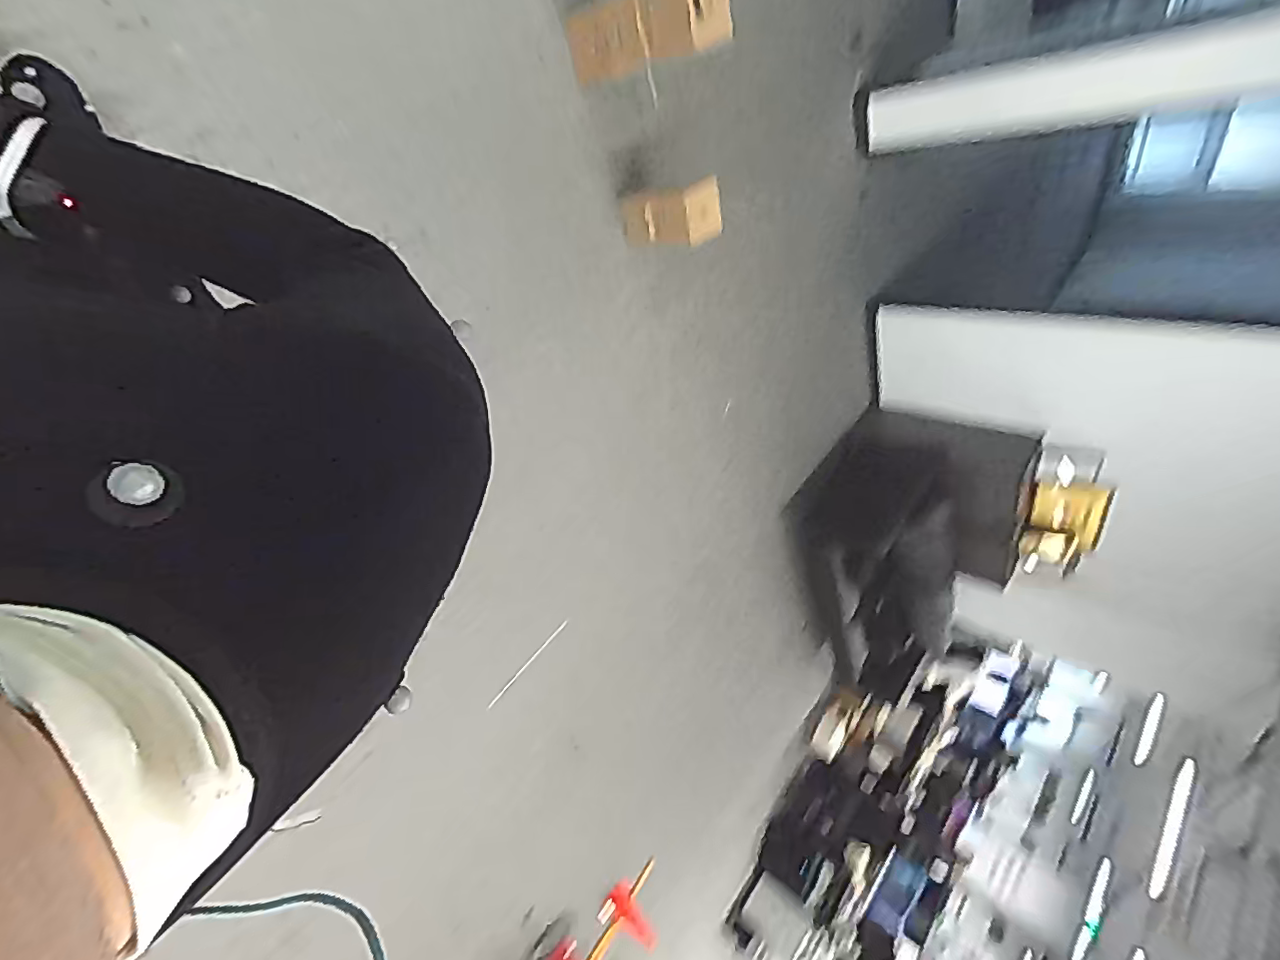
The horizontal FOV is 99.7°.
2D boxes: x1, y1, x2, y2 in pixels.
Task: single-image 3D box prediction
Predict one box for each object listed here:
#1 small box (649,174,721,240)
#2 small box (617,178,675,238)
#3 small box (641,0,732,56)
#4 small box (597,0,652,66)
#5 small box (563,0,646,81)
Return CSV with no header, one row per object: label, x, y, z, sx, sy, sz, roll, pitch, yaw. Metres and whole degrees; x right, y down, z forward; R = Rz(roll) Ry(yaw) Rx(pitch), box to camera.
small box,0.158,-0.953,1.888,0.179,0.176,0.168,-40,132,-28
small box,0.042,-1.001,1.989,0.179,0.176,0.168,-35,127,-31
small box,0.119,-1.280,1.461,0.179,0.176,0.168,-42,132,-26
small box,-0.003,-1.328,1.561,0.179,0.176,0.168,-40,132,-26
small box,-0.112,-1.373,1.674,0.168,0.176,0.179,-40,132,-27
